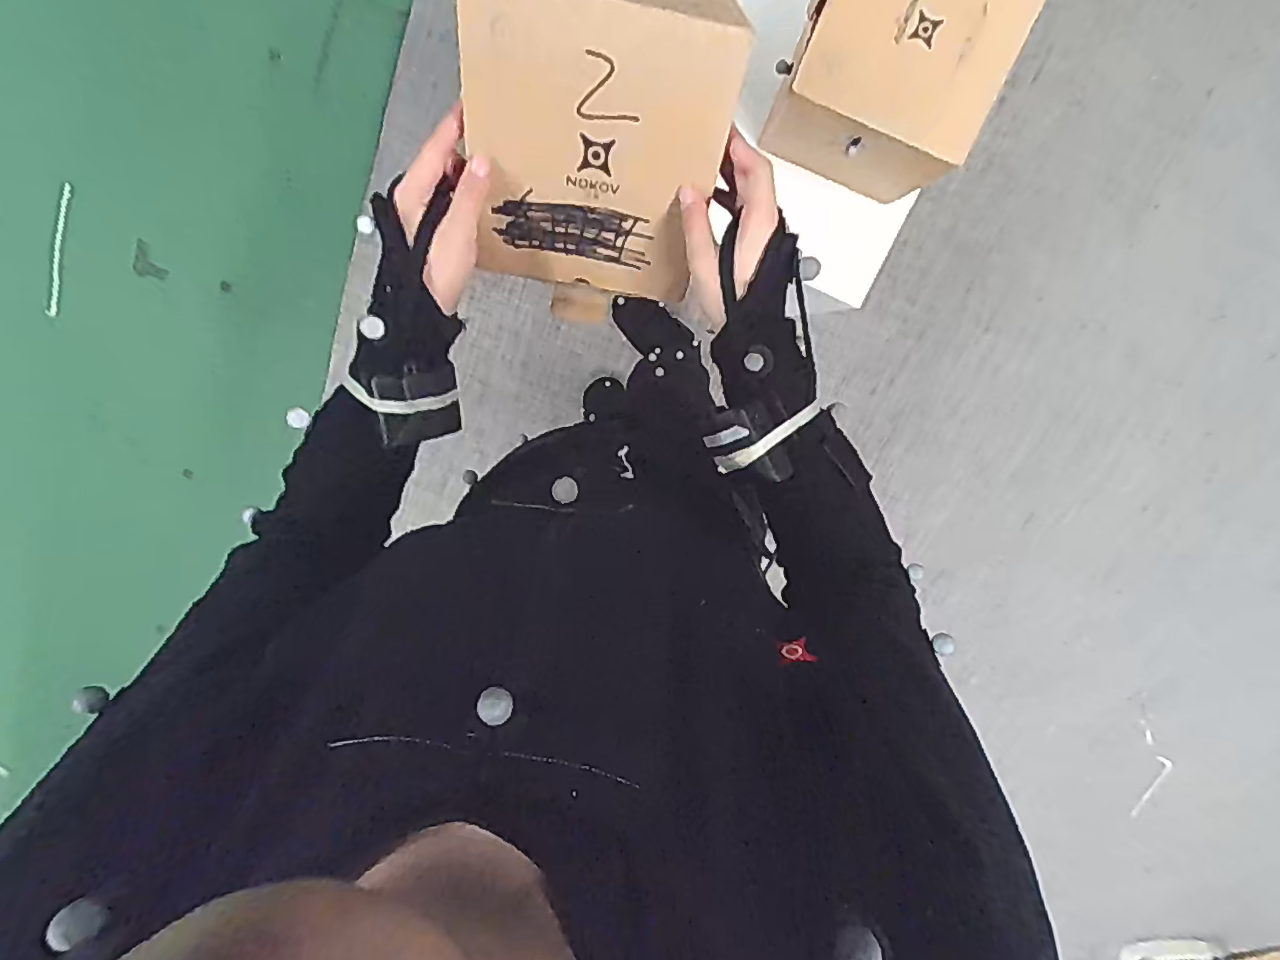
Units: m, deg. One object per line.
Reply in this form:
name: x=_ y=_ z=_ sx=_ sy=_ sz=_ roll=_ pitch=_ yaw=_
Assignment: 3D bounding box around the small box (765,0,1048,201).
small box: x=0.245 y=-0.405 z=0.542 sx=0.179 sy=0.176 sz=0.168 roll=21 pitch=106 yaw=-4
